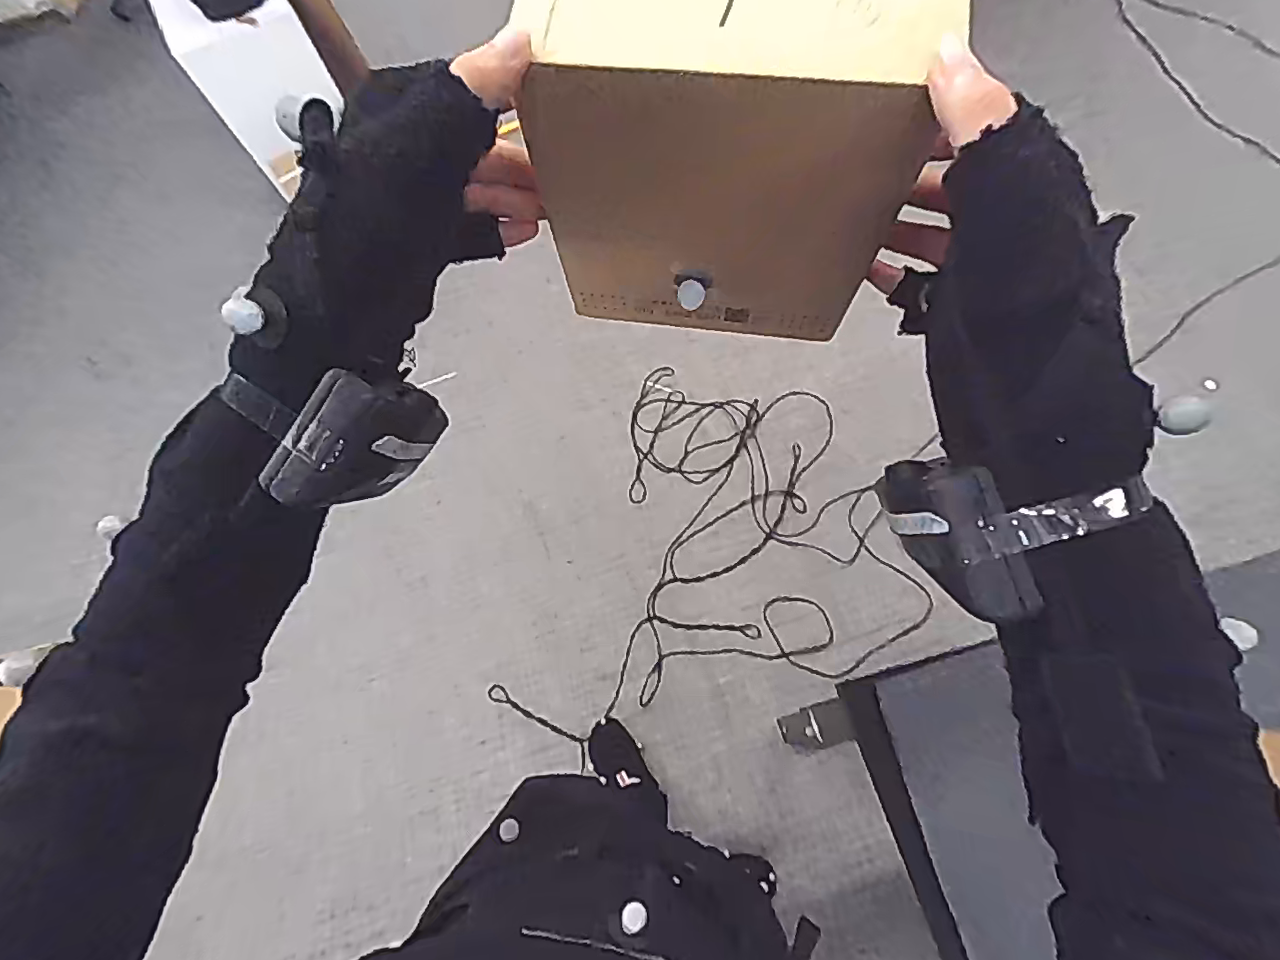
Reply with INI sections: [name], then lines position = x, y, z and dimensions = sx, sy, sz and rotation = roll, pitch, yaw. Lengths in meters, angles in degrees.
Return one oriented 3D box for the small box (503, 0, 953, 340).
[small box]
position = 0.045, -0.203, 0.294
dimensions = 0.168, 0.176, 0.179
rotation = 8, 75, 6
